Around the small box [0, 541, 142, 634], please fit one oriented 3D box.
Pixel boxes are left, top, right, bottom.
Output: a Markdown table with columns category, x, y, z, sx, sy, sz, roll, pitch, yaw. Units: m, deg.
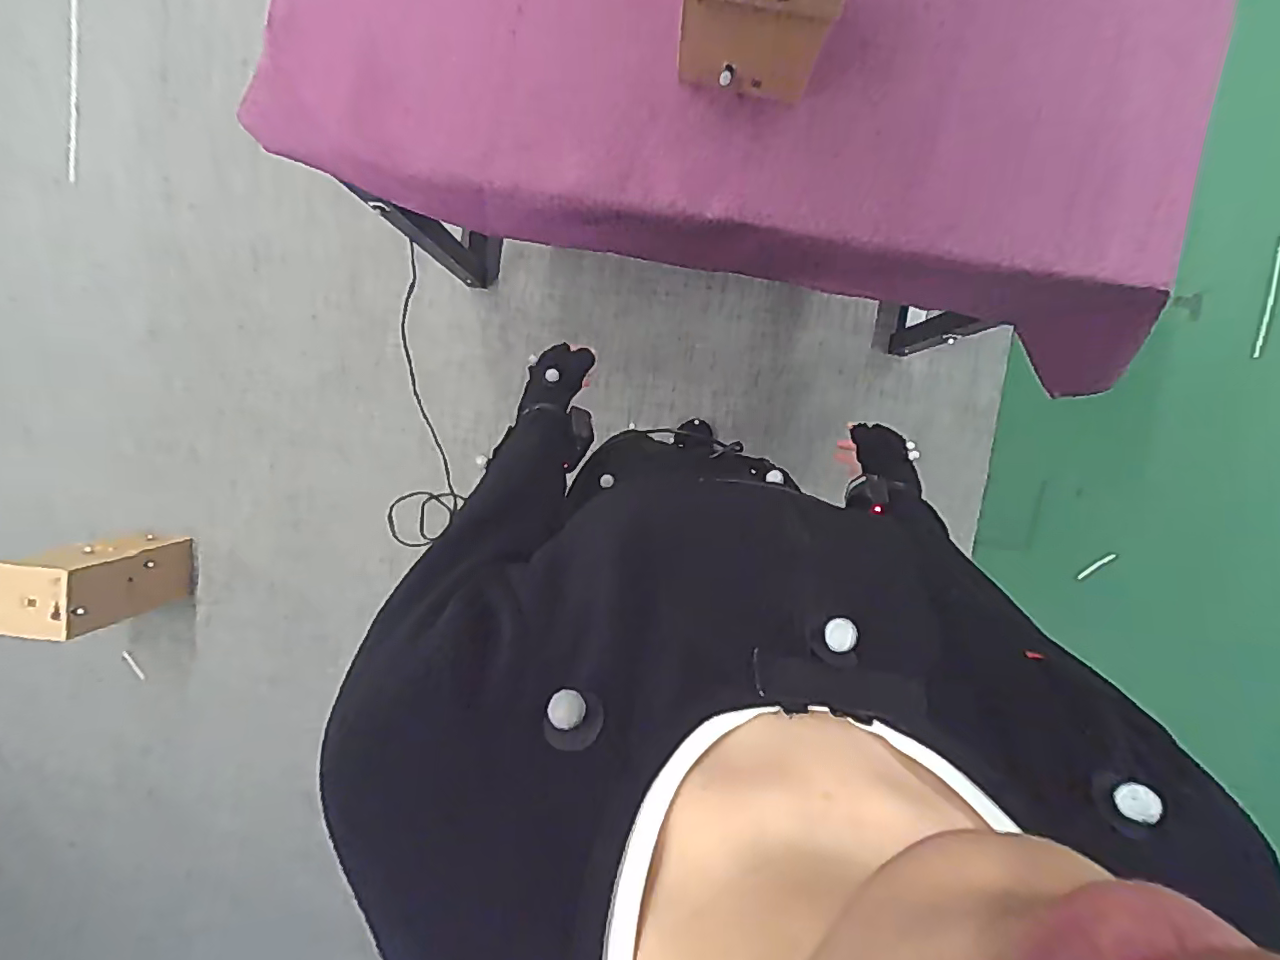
| category | x | y | z | sx | sy | sz | roll | pitch | yaw |
| --- | --- | --- | --- | --- | --- | --- | --- | --- | --- |
| small box | -1.338 | 0.244 | 1.270 | 0.179 | 0.176 | 0.168 | 7 | 95 | 1 |

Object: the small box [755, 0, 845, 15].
| category | x | y | z | sx | sy | sz | roll | pitch | yaw |
| --- | --- | --- | --- | --- | --- | --- | --- | --- | --- |
| small box | 0.136 | -0.556 | 0.453 | 0.168 | 0.176 | 0.179 | 11 | 95 | 1 |

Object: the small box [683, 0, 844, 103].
| category | x | y | z | sx | sy | sz | roll | pitch | yaw |
| --- | --- | --- | --- | --- | --- | --- | --- | --- | --- |
| small box | 0.147 | -0.583 | 0.615 | 0.168 | 0.176 | 0.179 | 13 | 95 | 1 |

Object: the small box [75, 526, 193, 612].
| category | x | y | z | sx | sy | sz | roll | pitch | yaw |
| --- | --- | --- | --- | --- | --- | --- | --- | --- | --- |
| small box | -1.336 | 0.231 | 1.434 | 0.168 | 0.176 | 0.179 | 7 | 94 | 0 |
